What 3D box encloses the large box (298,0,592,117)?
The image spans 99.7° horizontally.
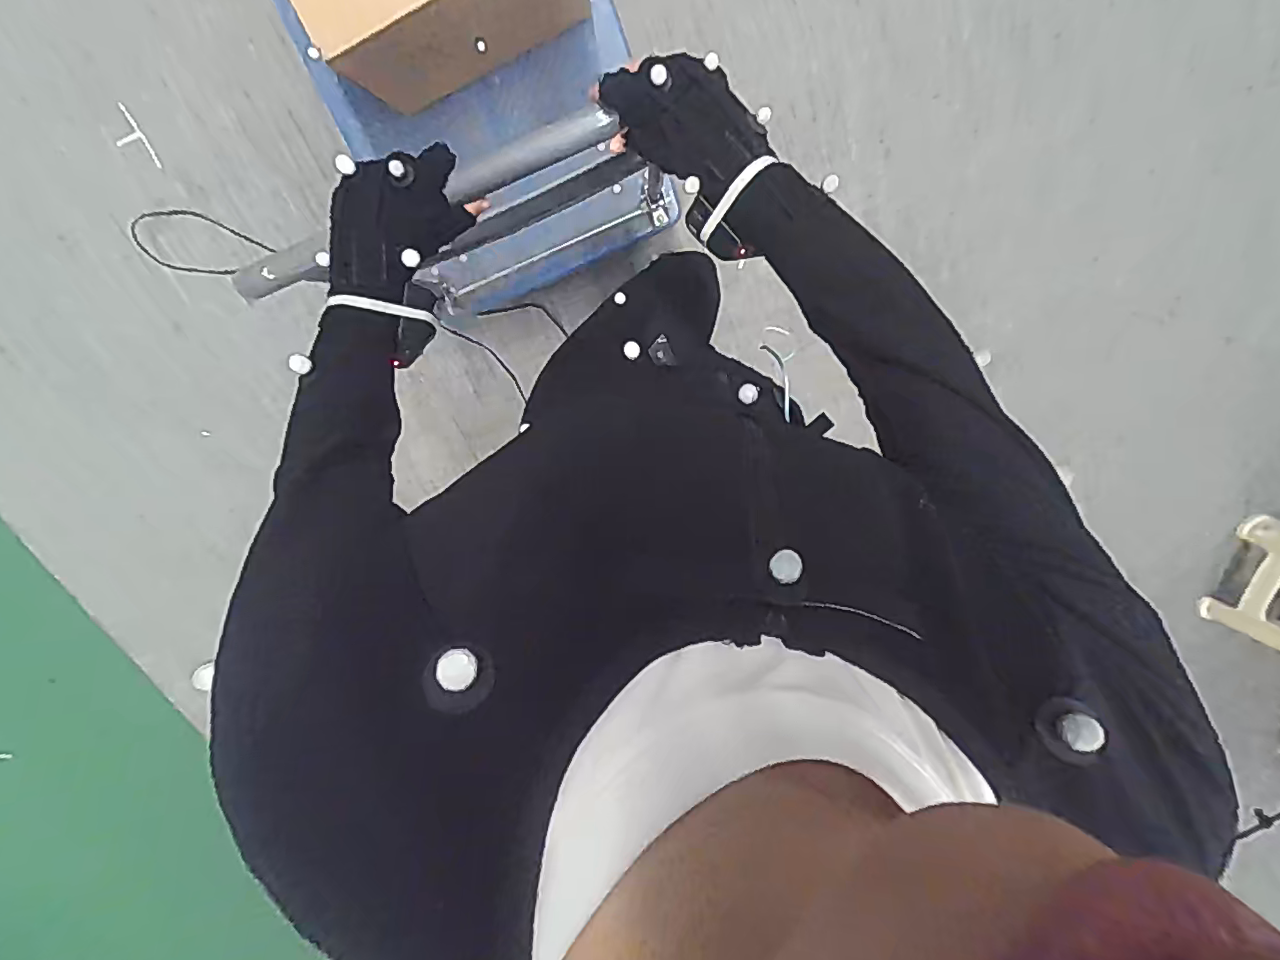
[{"bbox_3d":[-0.325,-0.856,0.844,0.408,0.320,0.320,-23,109,8],"label":"large box"}]
